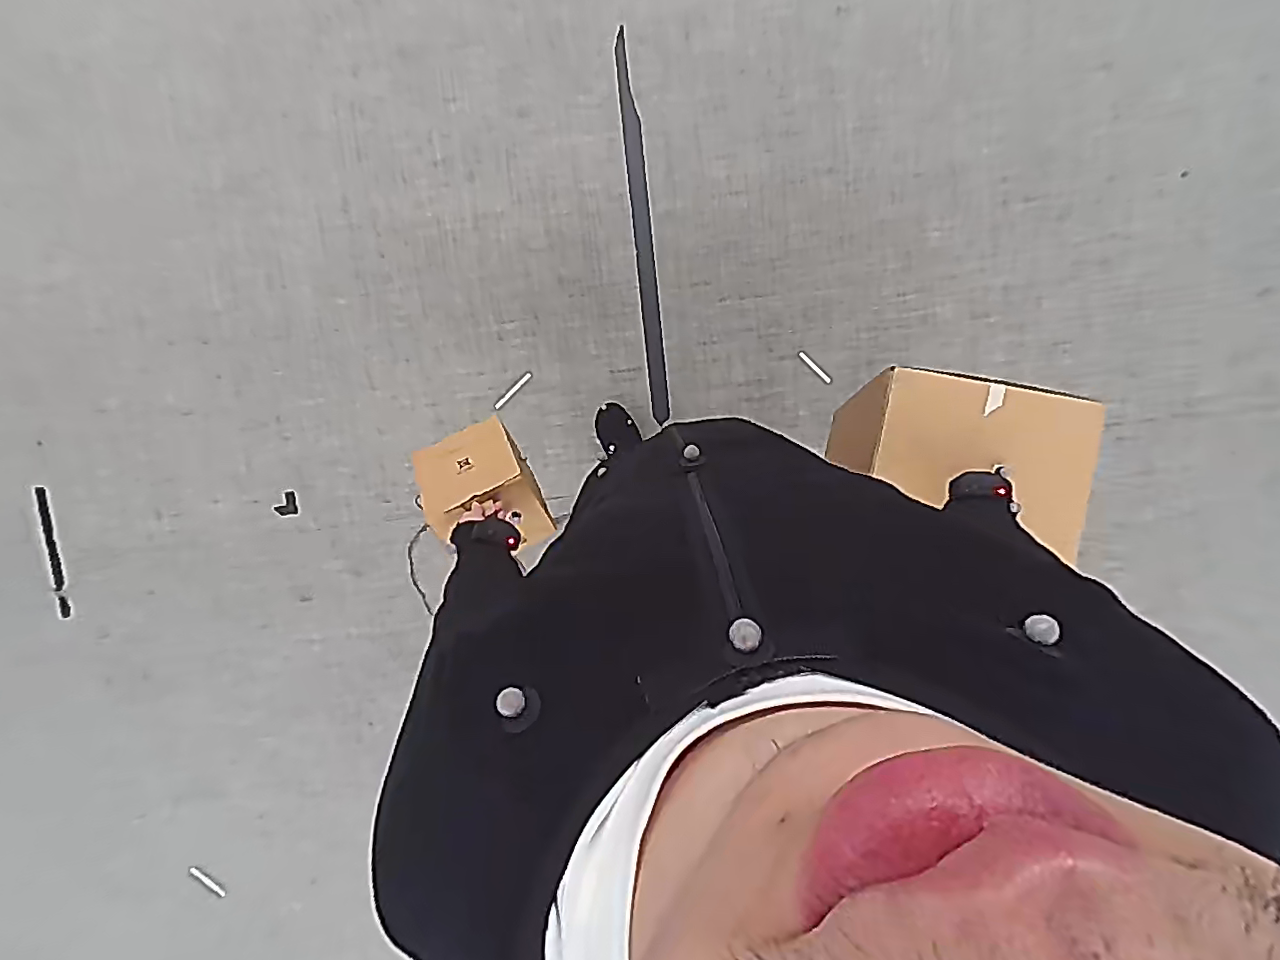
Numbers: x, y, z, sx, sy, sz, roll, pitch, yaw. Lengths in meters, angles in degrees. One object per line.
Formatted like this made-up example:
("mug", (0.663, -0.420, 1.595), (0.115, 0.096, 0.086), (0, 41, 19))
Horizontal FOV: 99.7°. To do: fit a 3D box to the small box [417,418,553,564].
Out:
("small box", (-0.274, 0.027, 0.971), (0.168, 0.179, 0.176), (-26, 137, -7))
